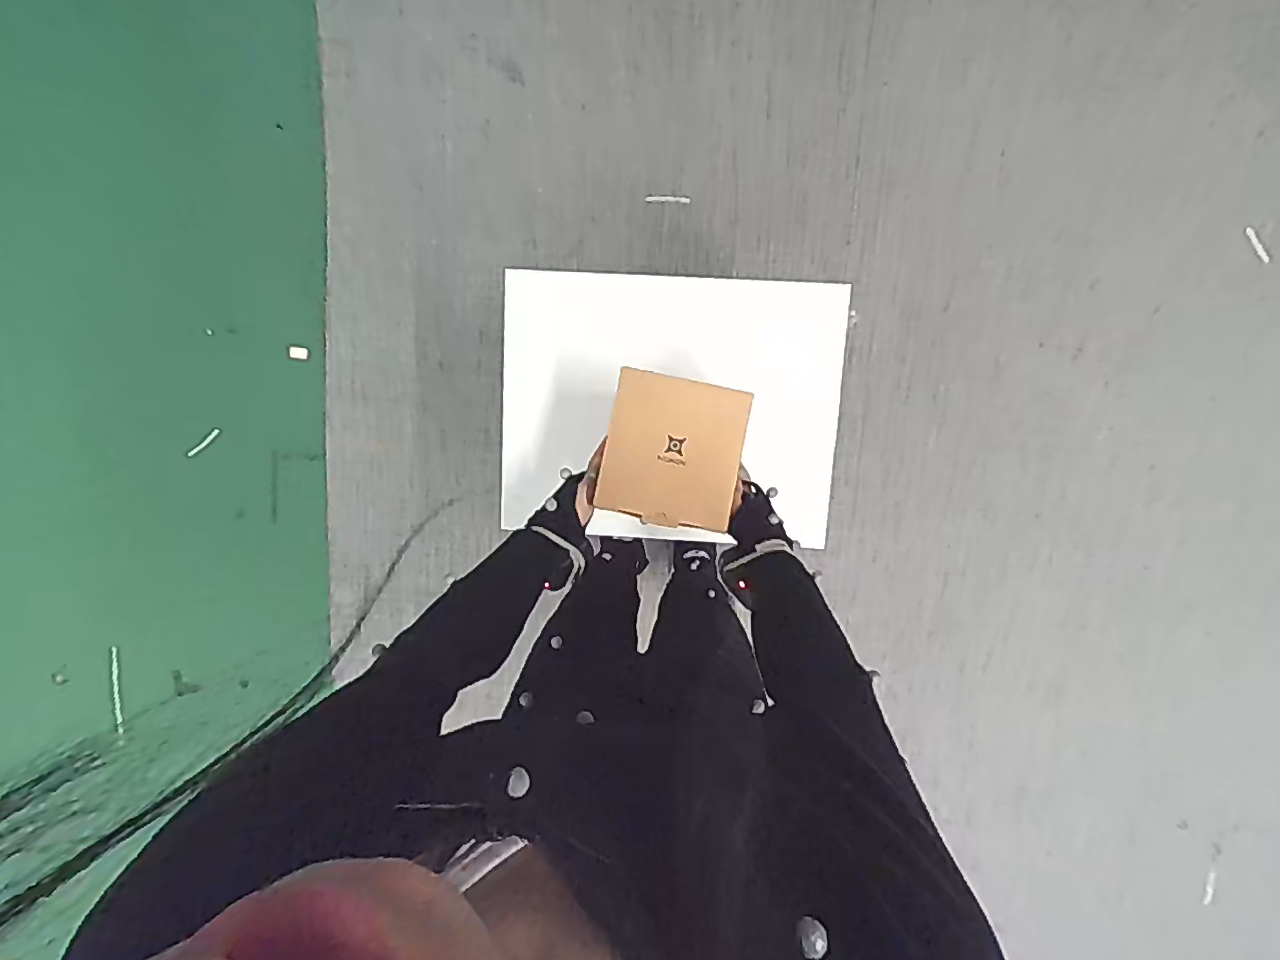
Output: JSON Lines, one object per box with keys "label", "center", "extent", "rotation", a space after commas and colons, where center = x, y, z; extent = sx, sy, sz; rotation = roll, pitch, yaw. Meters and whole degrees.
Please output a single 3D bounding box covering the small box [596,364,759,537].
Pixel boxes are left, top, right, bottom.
{"label": "small box", "center": [0.040, -0.031, 0.705], "extent": [0.168, 0.176, 0.179], "rotation": [12, 87, -2]}
